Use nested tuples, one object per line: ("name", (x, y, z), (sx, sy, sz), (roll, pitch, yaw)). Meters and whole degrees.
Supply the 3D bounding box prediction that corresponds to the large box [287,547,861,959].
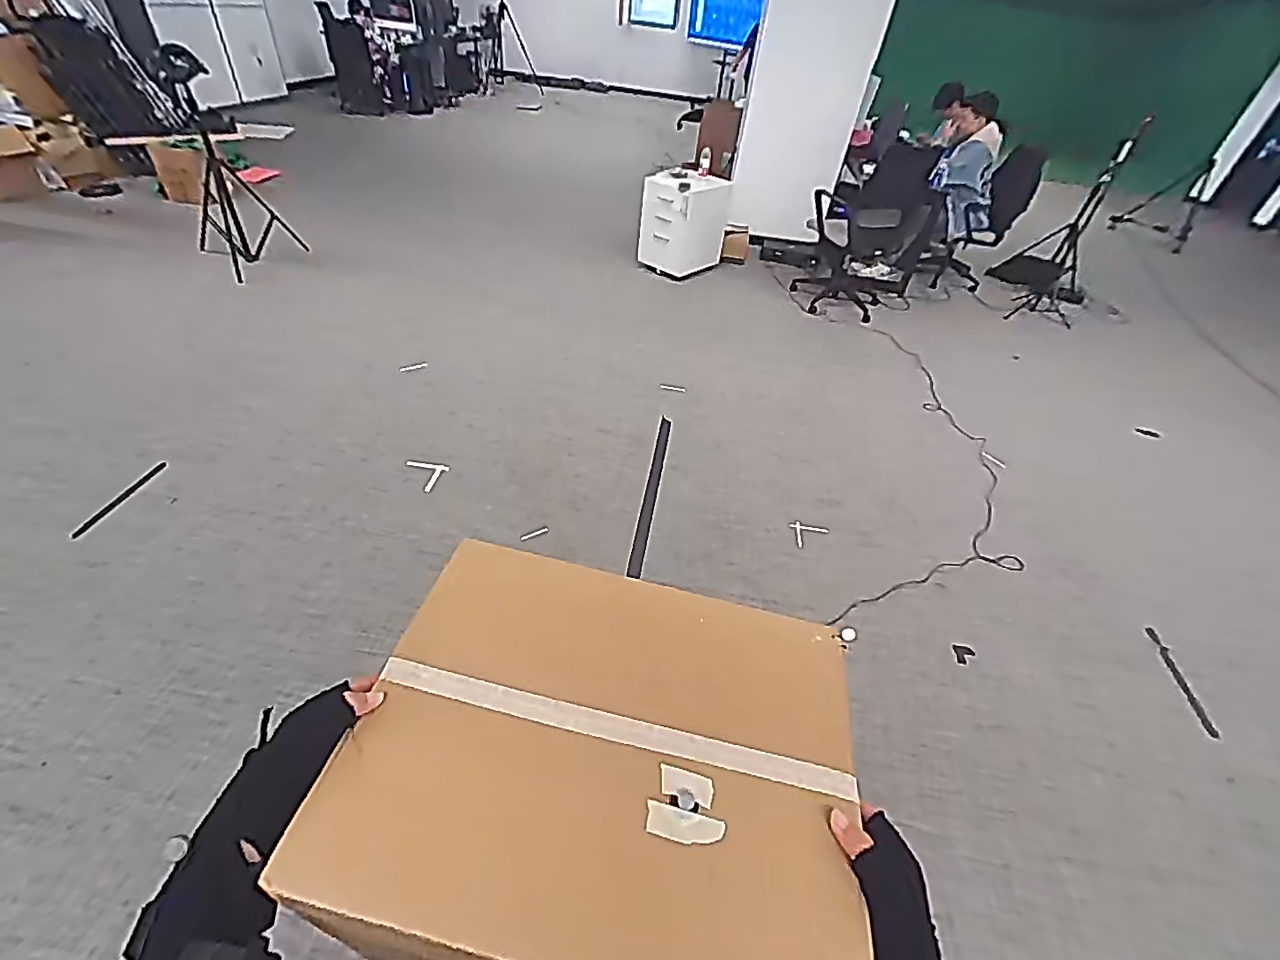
("large box", (-0.042, 0.320, 0.563), (0.408, 0.320, 0.320), (13, 43, 3))
